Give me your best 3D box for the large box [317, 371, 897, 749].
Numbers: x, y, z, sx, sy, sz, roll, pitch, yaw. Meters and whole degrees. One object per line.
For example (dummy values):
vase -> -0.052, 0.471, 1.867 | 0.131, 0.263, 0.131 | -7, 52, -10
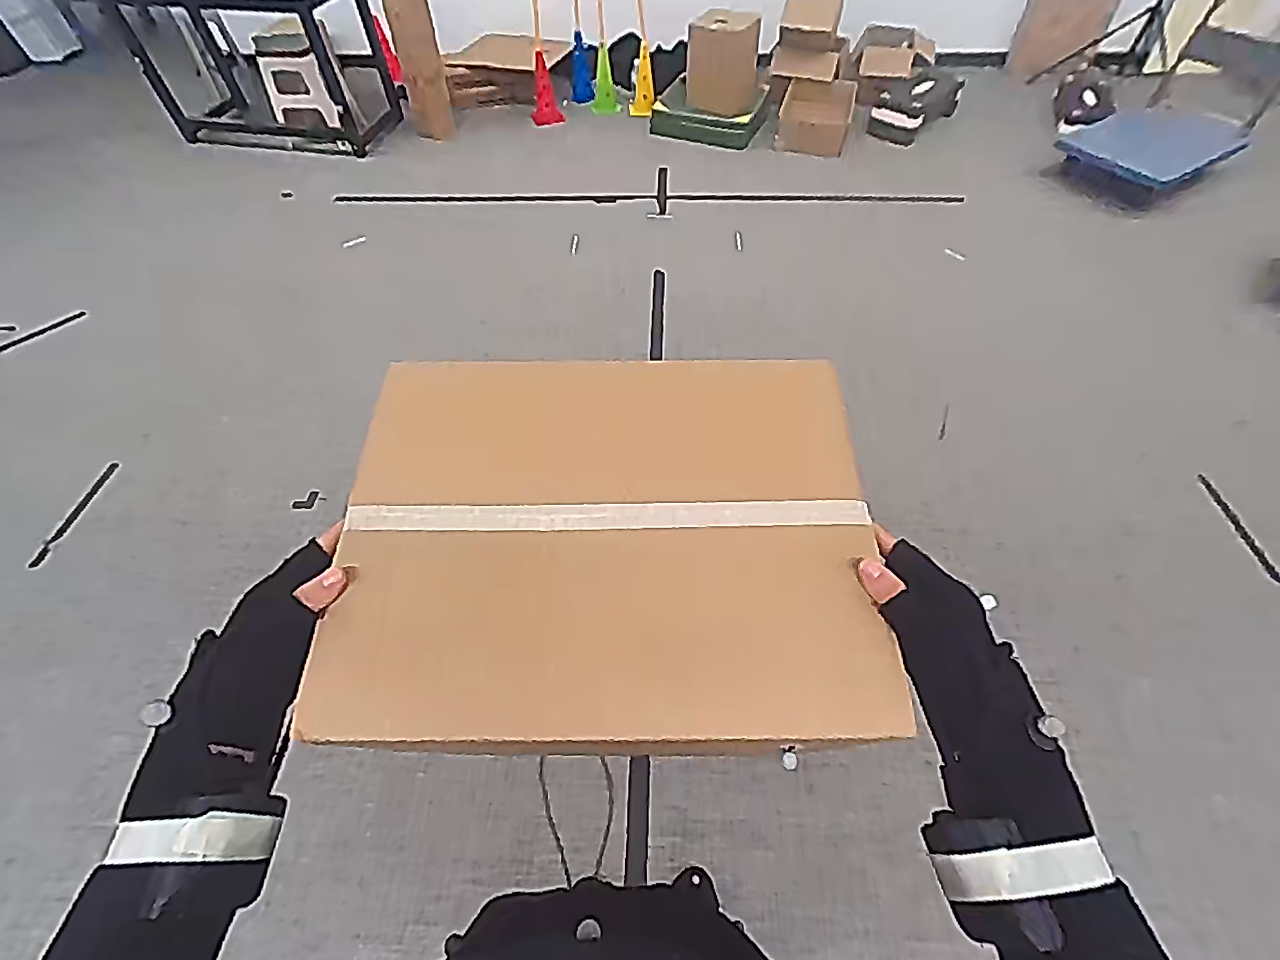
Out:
large box -> -0.021, 0.106, 0.565 | 0.408, 0.320, 0.320 | 0, 61, 0
